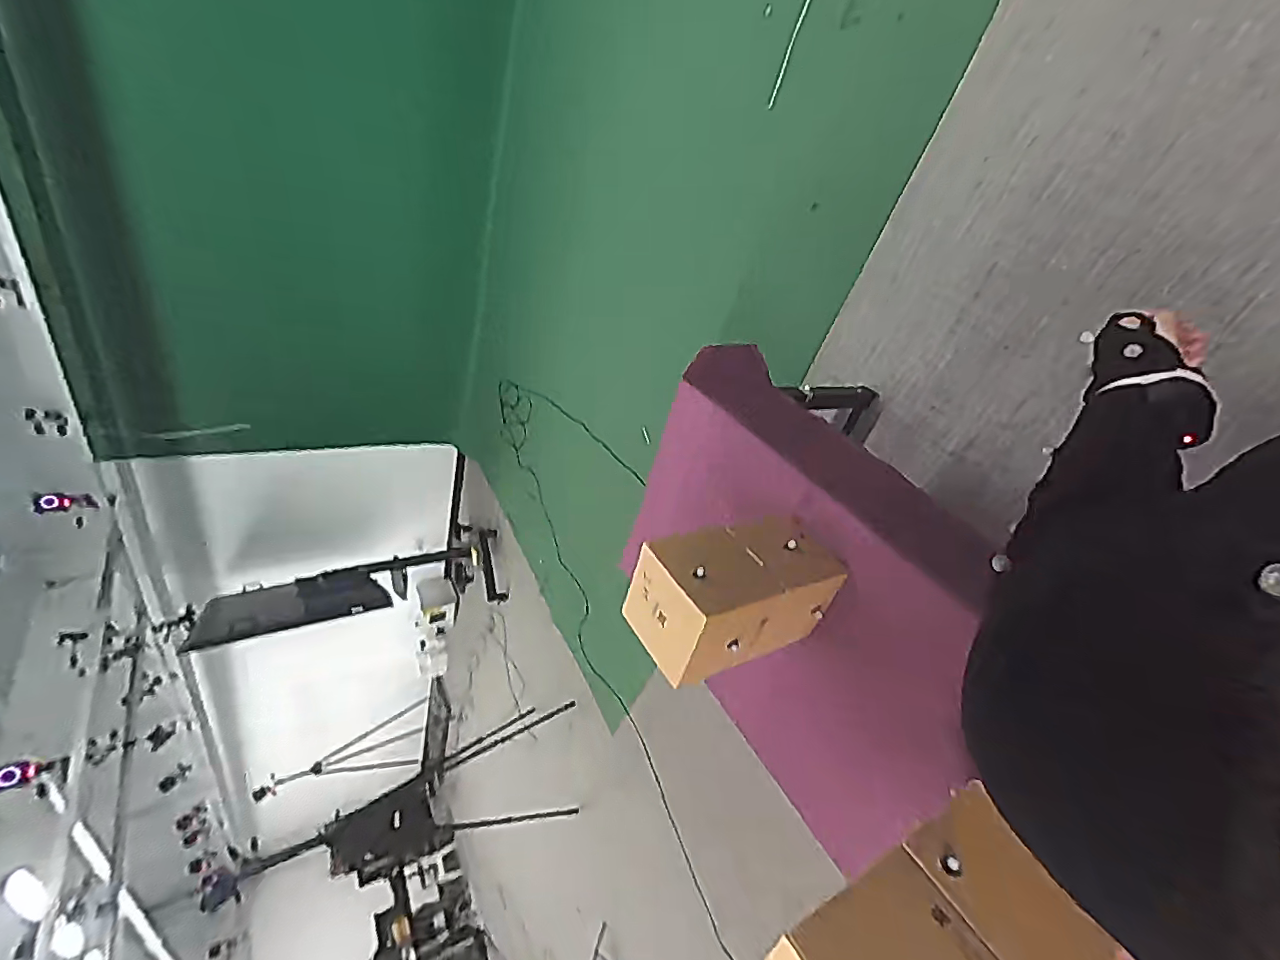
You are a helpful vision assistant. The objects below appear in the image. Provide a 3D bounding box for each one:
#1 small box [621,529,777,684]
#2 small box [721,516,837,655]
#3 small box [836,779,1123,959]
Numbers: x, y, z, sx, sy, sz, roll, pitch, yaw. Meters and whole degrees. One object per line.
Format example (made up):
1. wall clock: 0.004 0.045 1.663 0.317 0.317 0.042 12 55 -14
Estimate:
1. small box: 0.096 0.200 0.906 0.179 0.176 0.168 48 132 40
2. small box: 0.232 0.185 1.000 0.168 0.176 0.179 48 132 40
3. small box: 0.360 0.470 0.584 0.179 0.176 0.168 46 131 43
